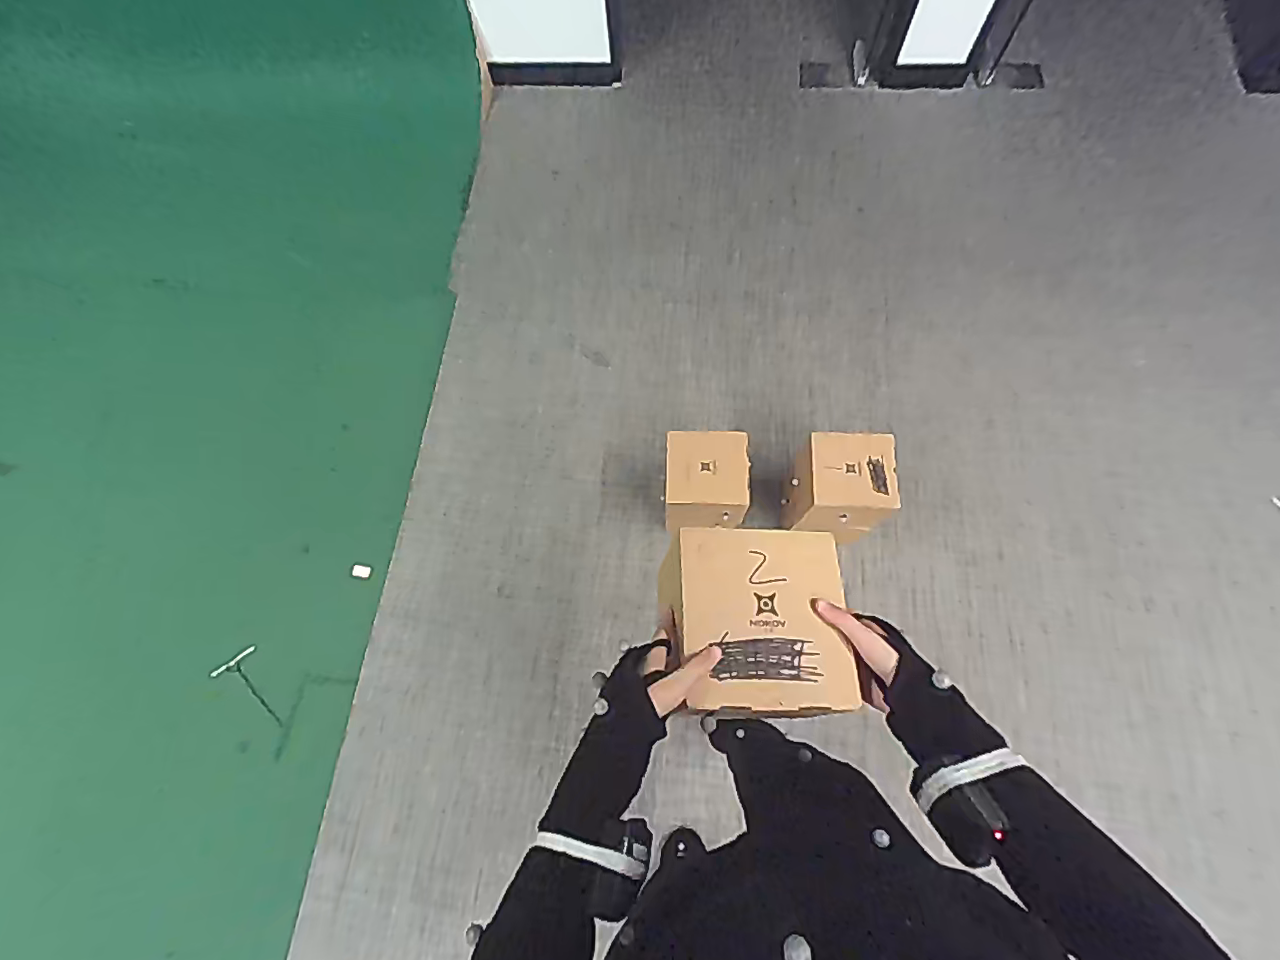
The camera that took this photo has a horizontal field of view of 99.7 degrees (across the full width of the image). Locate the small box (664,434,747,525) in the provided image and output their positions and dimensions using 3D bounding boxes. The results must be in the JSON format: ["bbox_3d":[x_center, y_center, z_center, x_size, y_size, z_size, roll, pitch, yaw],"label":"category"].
[{"bbox_3d":[0.145,0.004,1.237,0.179,0.176,0.168,1,71,5],"label":"small box"}]

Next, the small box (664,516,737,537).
[{"bbox_3d":[0.153,0.047,1.394,0.179,0.176,0.168,0,71,5],"label":"small box"}]

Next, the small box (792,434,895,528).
[{"bbox_3d":[0.447,0.008,1.214,0.179,0.176,0.168,2,71,5],"label":"small box"}]
